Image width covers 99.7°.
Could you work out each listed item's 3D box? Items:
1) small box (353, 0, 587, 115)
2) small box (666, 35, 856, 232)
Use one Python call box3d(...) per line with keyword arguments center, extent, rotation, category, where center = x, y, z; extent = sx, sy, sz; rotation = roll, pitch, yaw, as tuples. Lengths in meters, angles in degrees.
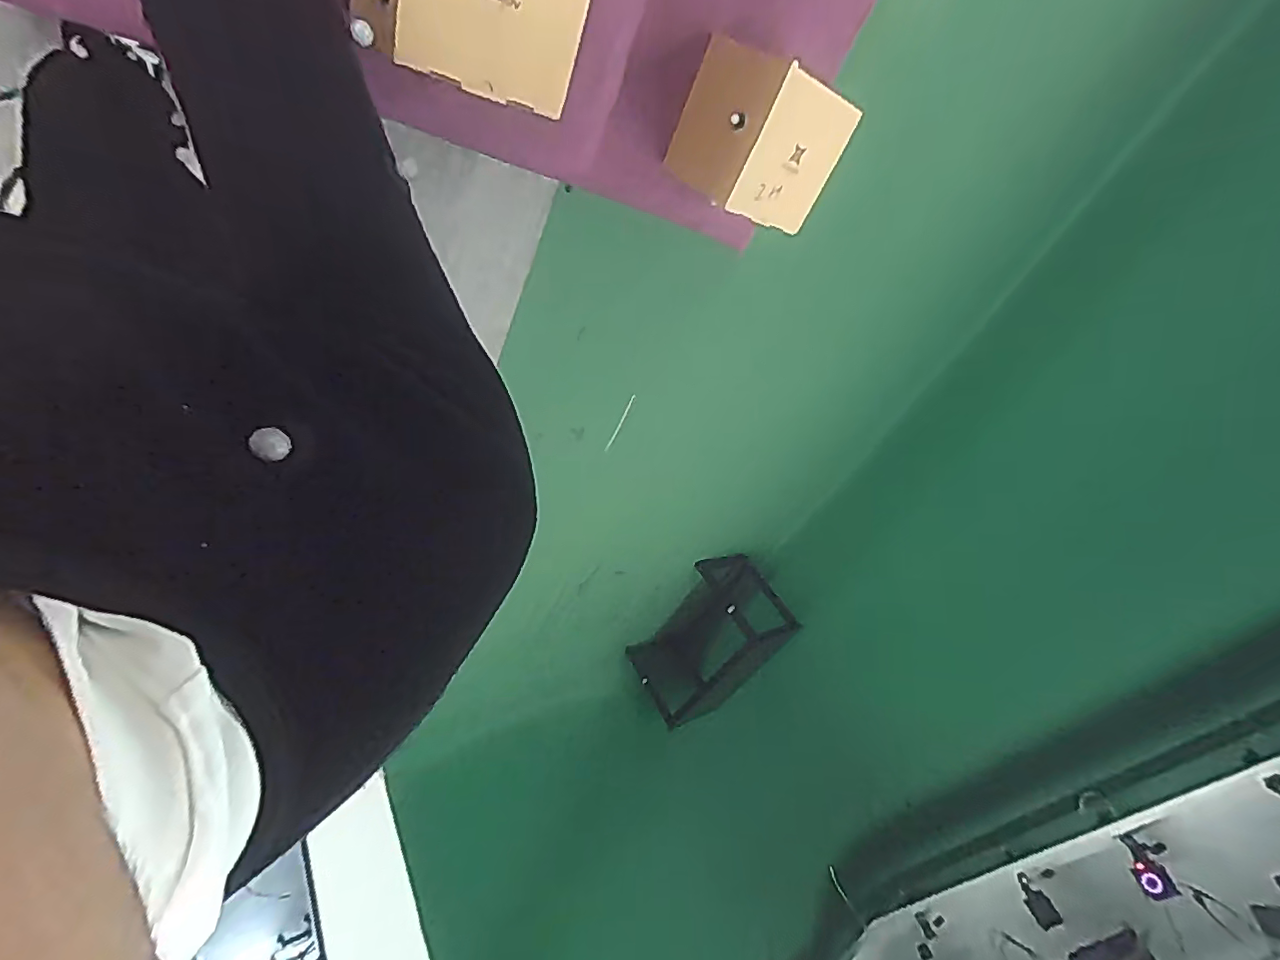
box3d(center=(-0.158, -0.486, 0.499), extent=(0.168, 0.176, 0.179), rotation=(-7, 138, -39), category="small box")
box3d(center=(0.165, -0.498, 0.785), extent=(0.168, 0.176, 0.179), rotation=(-4, 136, -39), category="small box")
